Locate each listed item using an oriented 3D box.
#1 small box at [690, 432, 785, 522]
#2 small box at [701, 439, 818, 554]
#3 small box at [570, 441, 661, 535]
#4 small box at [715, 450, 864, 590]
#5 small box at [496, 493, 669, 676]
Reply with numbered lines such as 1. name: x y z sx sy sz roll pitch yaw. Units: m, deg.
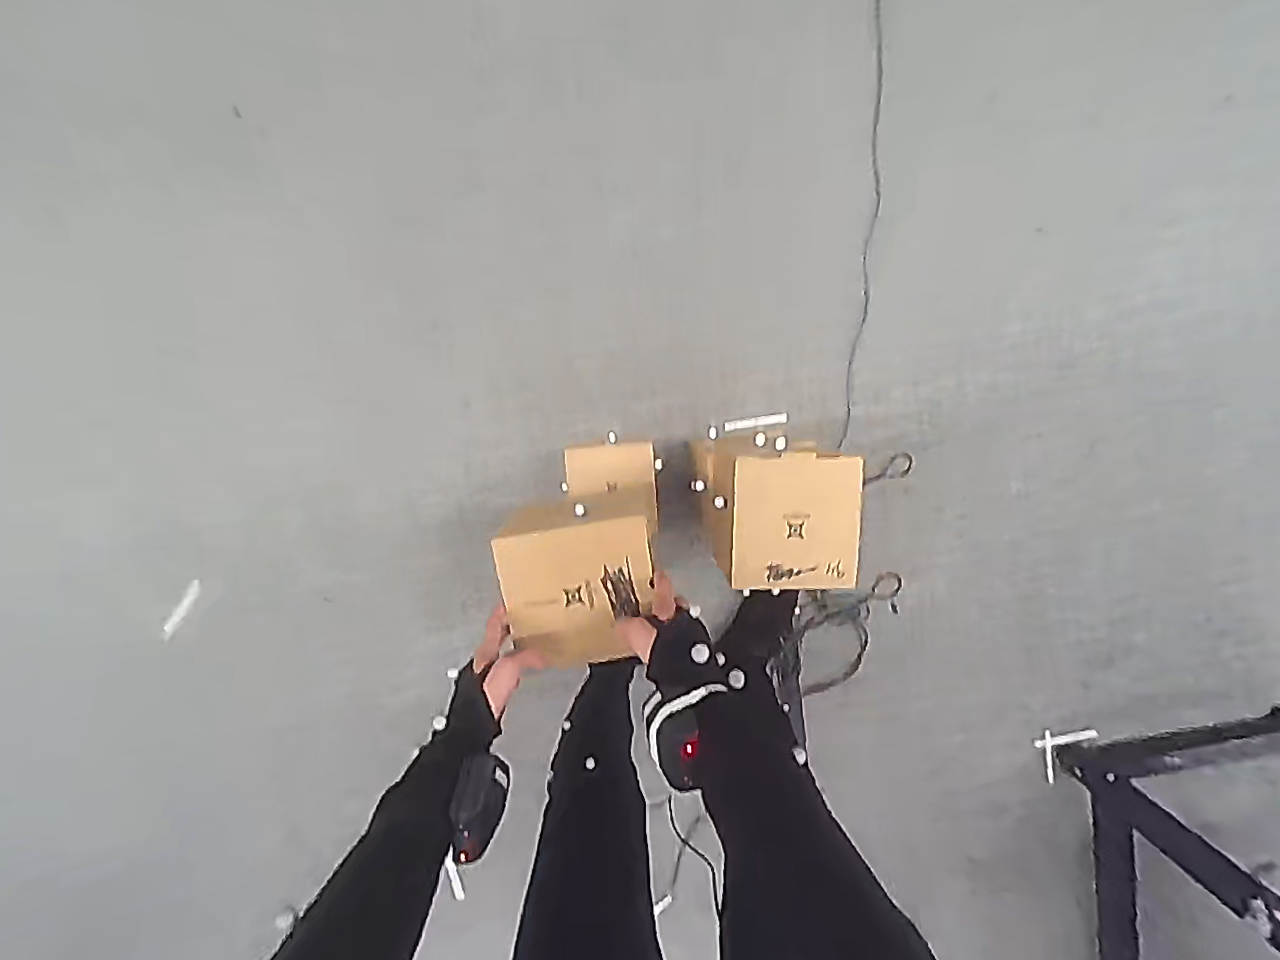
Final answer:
1. small box: 0.198 -0.001 1.097 0.168 0.176 0.179 -8 99 1
2. small box: 0.202 0.023 0.937 0.179 0.176 0.168 -7 98 1
3. small box: -0.048 0.013 1.092 0.168 0.176 0.179 -4 99 0
4. small box: 0.202 0.048 0.774 0.168 0.176 0.179 0 97 0
5. small box: -0.068 0.120 0.687 0.179 0.176 0.168 -9 100 -1
